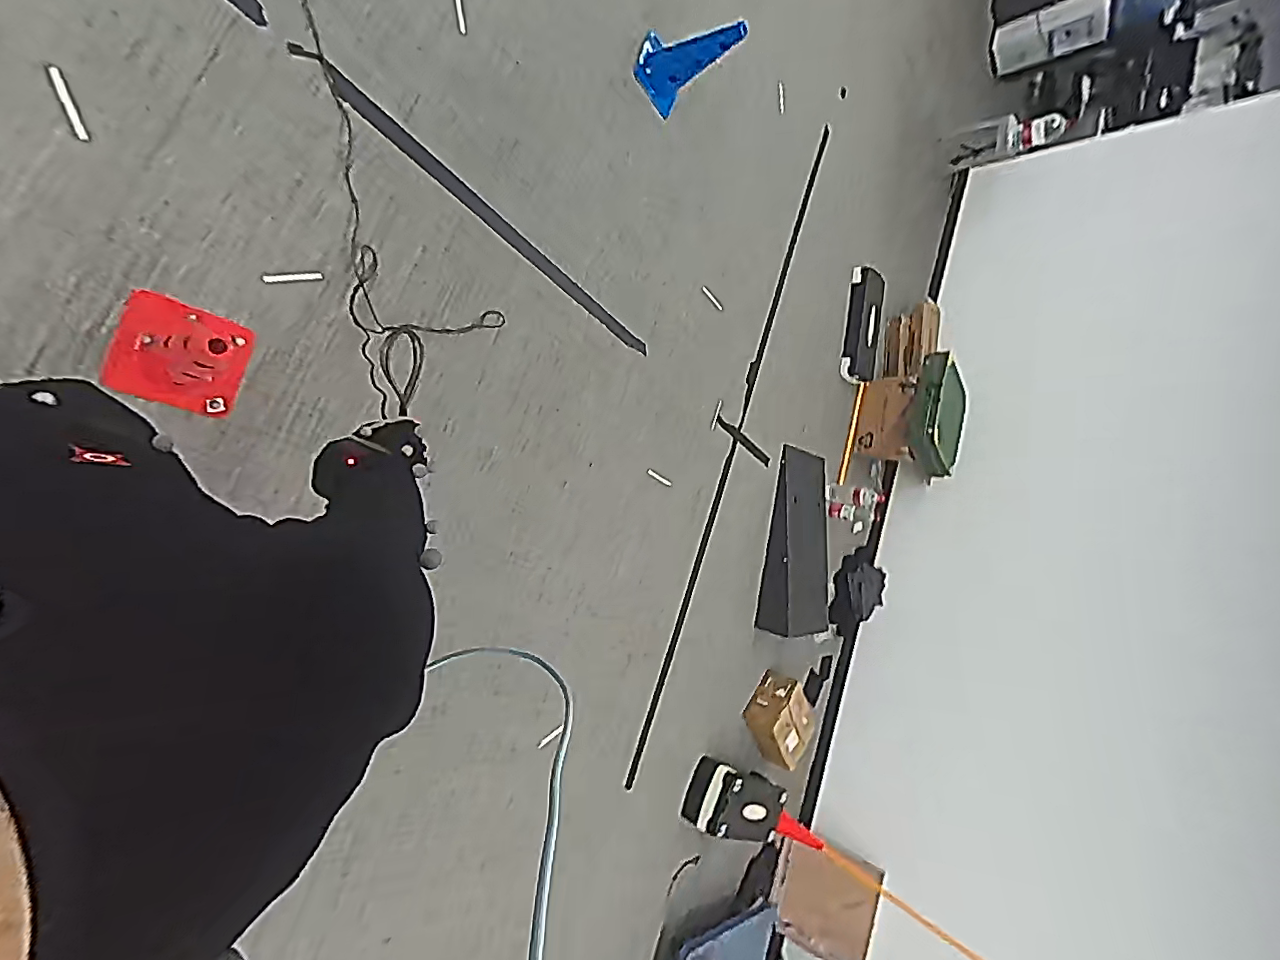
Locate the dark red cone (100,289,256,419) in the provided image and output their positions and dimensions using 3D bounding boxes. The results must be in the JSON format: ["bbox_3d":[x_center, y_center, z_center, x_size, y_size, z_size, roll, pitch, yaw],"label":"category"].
[{"bbox_3d":[-0.754,-0.219,0.919,0.202,0.394,0.201,20,81,-47],"label":"dark red cone"}]

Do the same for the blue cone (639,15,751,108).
[{"bbox_3d":[0.192,-1.423,1.787,0.193,0.380,0.192,32,72,-45],"label":"blue cone"}]
